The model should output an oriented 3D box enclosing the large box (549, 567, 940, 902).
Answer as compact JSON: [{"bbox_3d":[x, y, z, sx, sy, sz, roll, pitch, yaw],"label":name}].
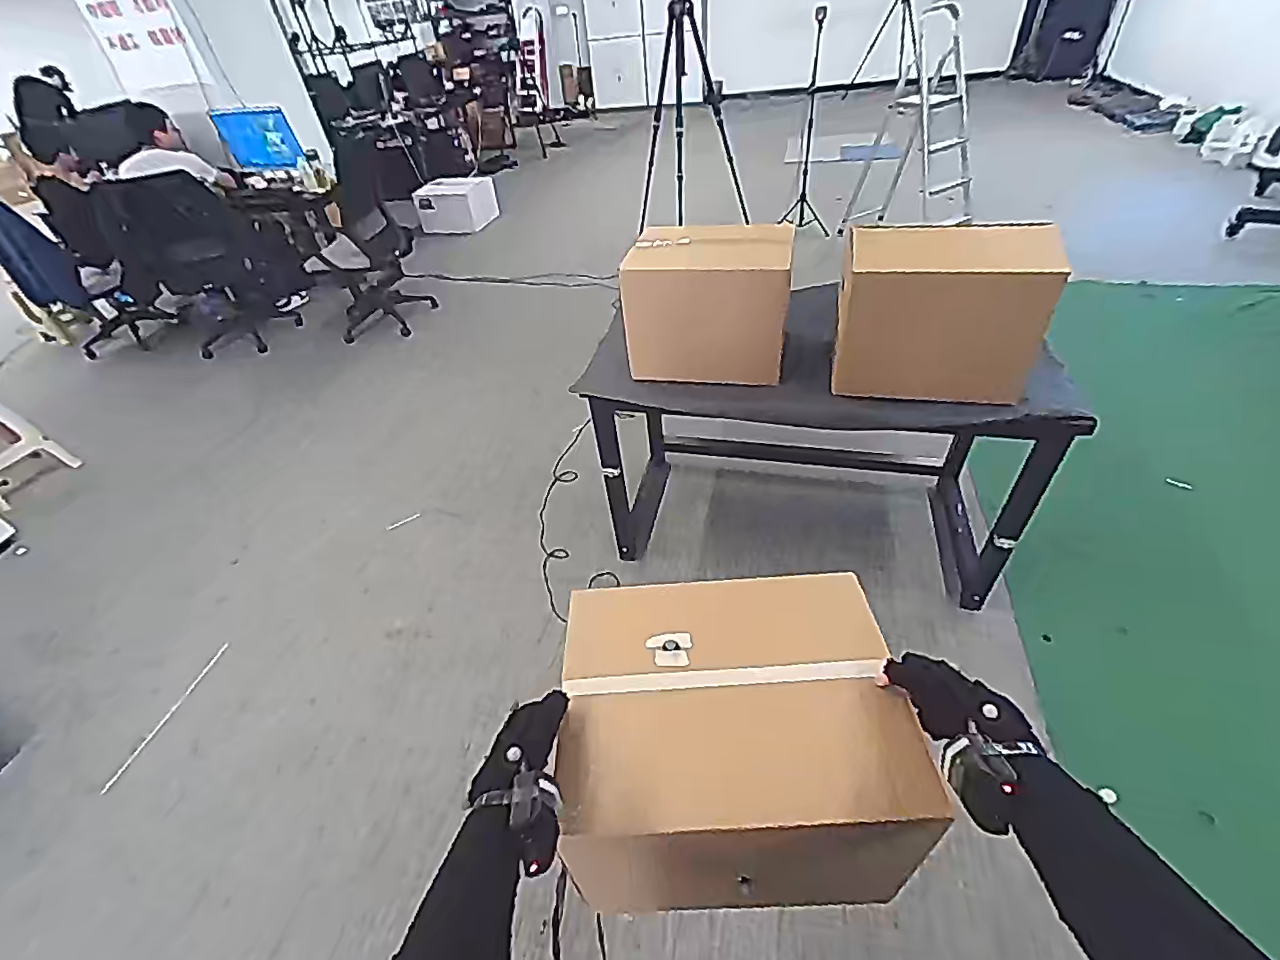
[{"bbox_3d":[0.113,0.353,0.751,0.408,0.320,0.320,-5,39,2],"label":"large box"}]
